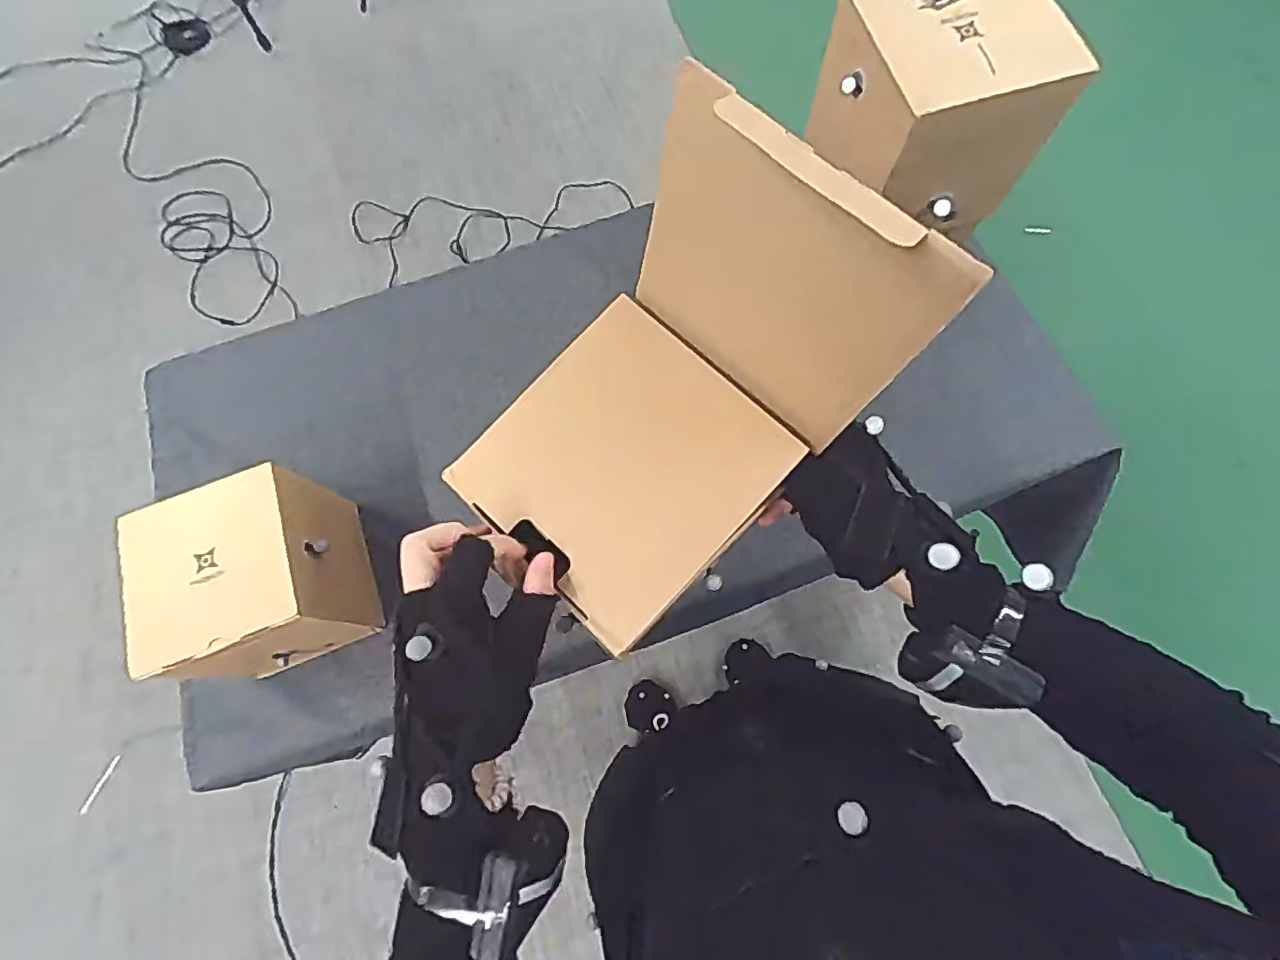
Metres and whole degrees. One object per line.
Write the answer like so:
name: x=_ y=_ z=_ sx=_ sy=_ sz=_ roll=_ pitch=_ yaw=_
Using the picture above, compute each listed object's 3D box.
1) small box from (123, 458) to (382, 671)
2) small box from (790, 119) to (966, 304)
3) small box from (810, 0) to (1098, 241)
small box: x=-0.427 y=0.104 z=0.617 sx=0.168 sy=0.176 sz=0.179 roll=-22 pitch=72 yaw=-4
small box: x=0.307 y=-0.356 z=0.717 sx=0.179 sy=0.176 sz=0.168 roll=-9 pitch=72 yaw=1
small box: x=0.293 y=-0.386 z=0.555 sx=0.168 sy=0.176 sz=0.179 roll=-15 pitch=73 yaw=0
